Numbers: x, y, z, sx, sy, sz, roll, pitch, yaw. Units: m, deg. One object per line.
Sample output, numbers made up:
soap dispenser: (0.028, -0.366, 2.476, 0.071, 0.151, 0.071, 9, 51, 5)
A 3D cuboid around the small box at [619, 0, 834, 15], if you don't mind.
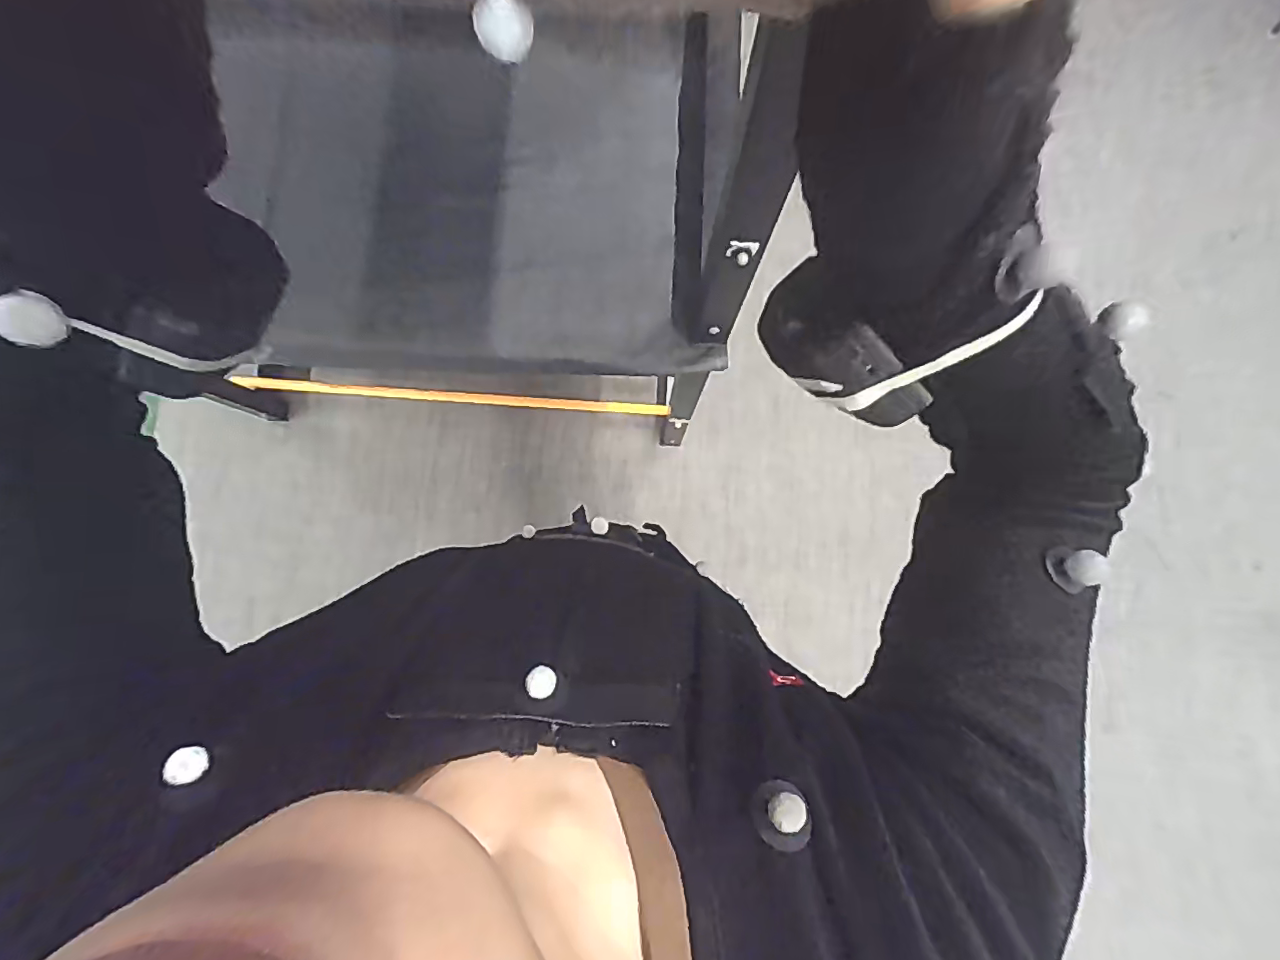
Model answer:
small box: (-0.023, -0.175, 0.056, 0.168, 0.179, 0.176, 5, 39, 0)
